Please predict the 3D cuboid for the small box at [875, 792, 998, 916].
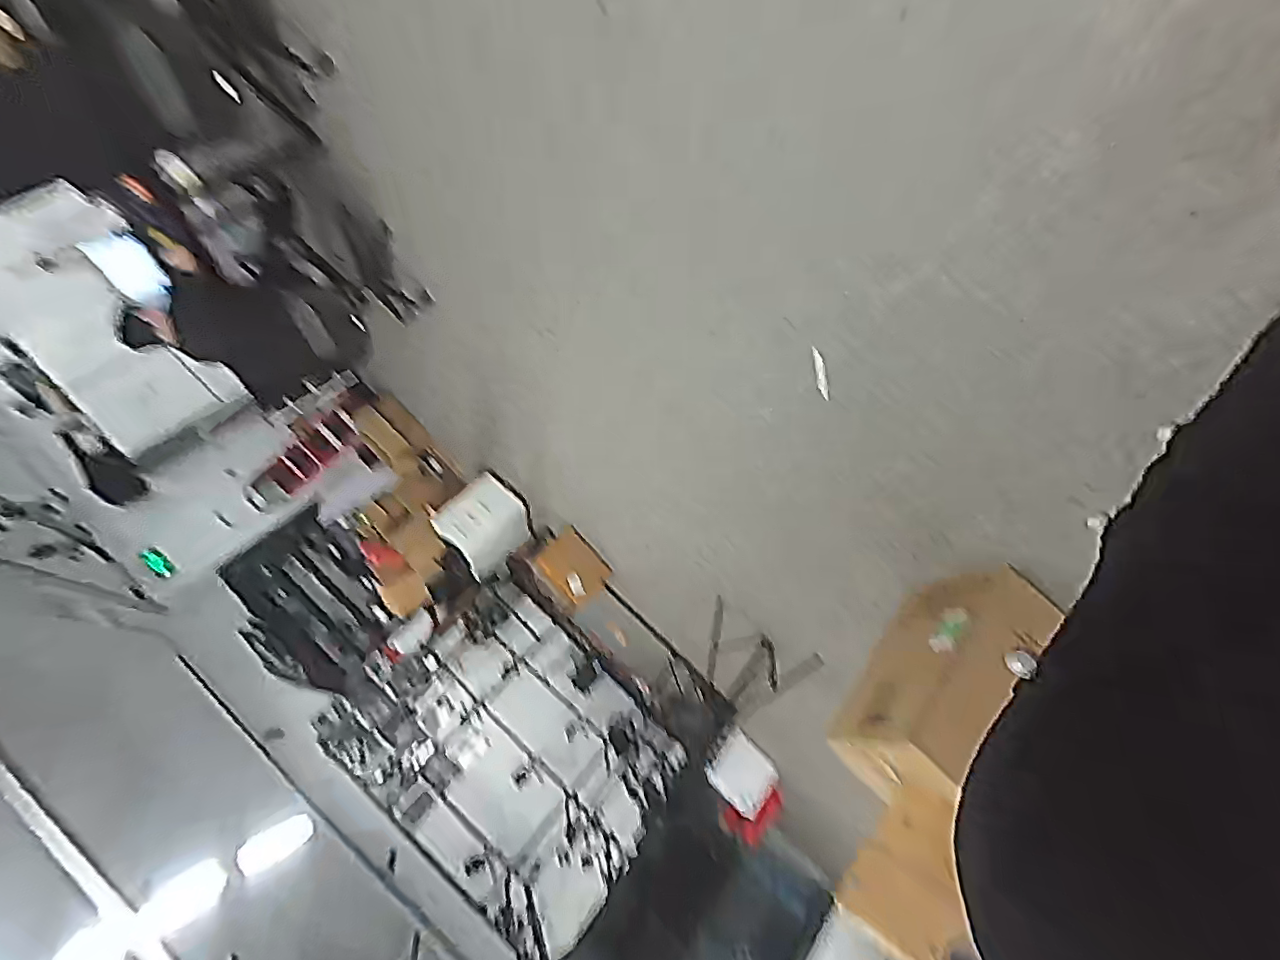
[{"bbox_3d":[0.727,0.905,1.329,0.179,0.176,0.168,42,153,6],"label":"small box"}]
